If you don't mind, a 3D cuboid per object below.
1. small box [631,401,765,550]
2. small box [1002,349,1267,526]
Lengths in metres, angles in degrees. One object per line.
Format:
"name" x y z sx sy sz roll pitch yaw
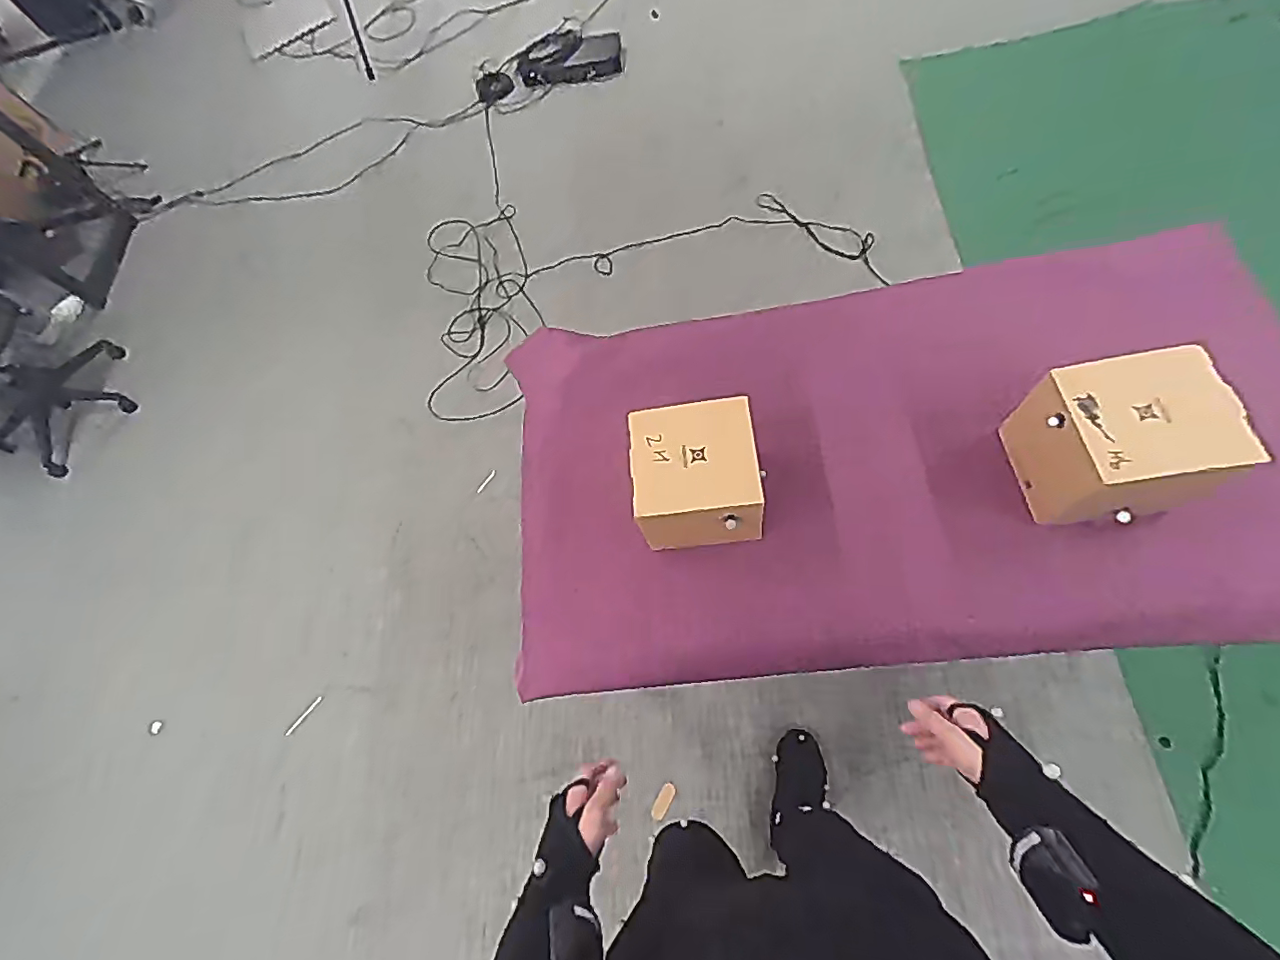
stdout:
"small box" 0.089 0.002 0.821 0.179 0.176 0.168 -7 66 9
"small box" 0.632 -0.047 0.723 0.179 0.176 0.168 -9 66 9
